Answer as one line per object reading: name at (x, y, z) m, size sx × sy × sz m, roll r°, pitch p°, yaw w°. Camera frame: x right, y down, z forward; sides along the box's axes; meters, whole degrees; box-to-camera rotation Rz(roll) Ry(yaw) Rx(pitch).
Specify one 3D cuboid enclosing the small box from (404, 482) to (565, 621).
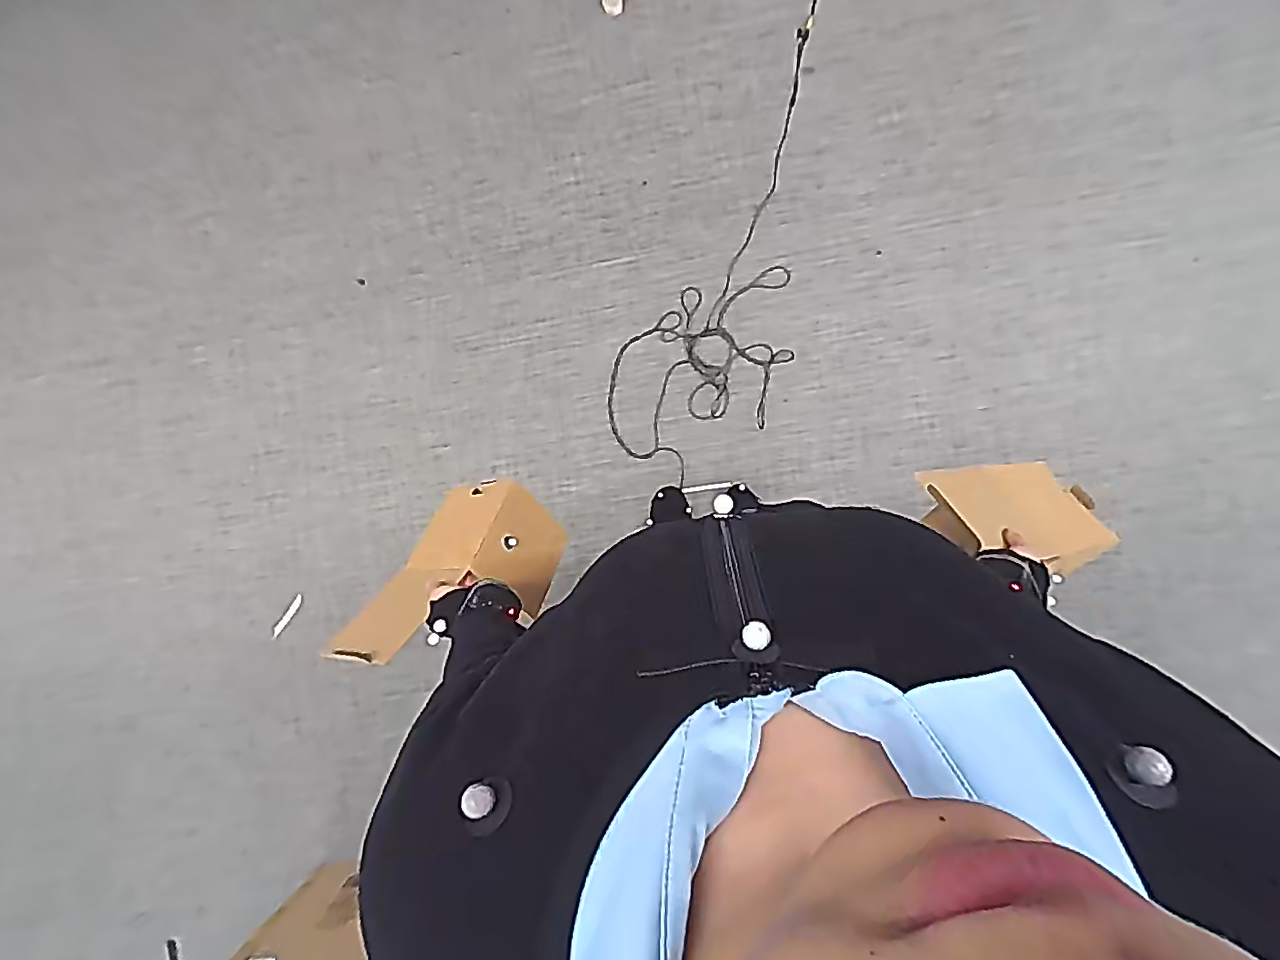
small box at (-0.256, 0.128, 0.931) m, size 0.168 × 0.176 × 0.179 m, roll -6°, pitch 46°, yaw 32°
